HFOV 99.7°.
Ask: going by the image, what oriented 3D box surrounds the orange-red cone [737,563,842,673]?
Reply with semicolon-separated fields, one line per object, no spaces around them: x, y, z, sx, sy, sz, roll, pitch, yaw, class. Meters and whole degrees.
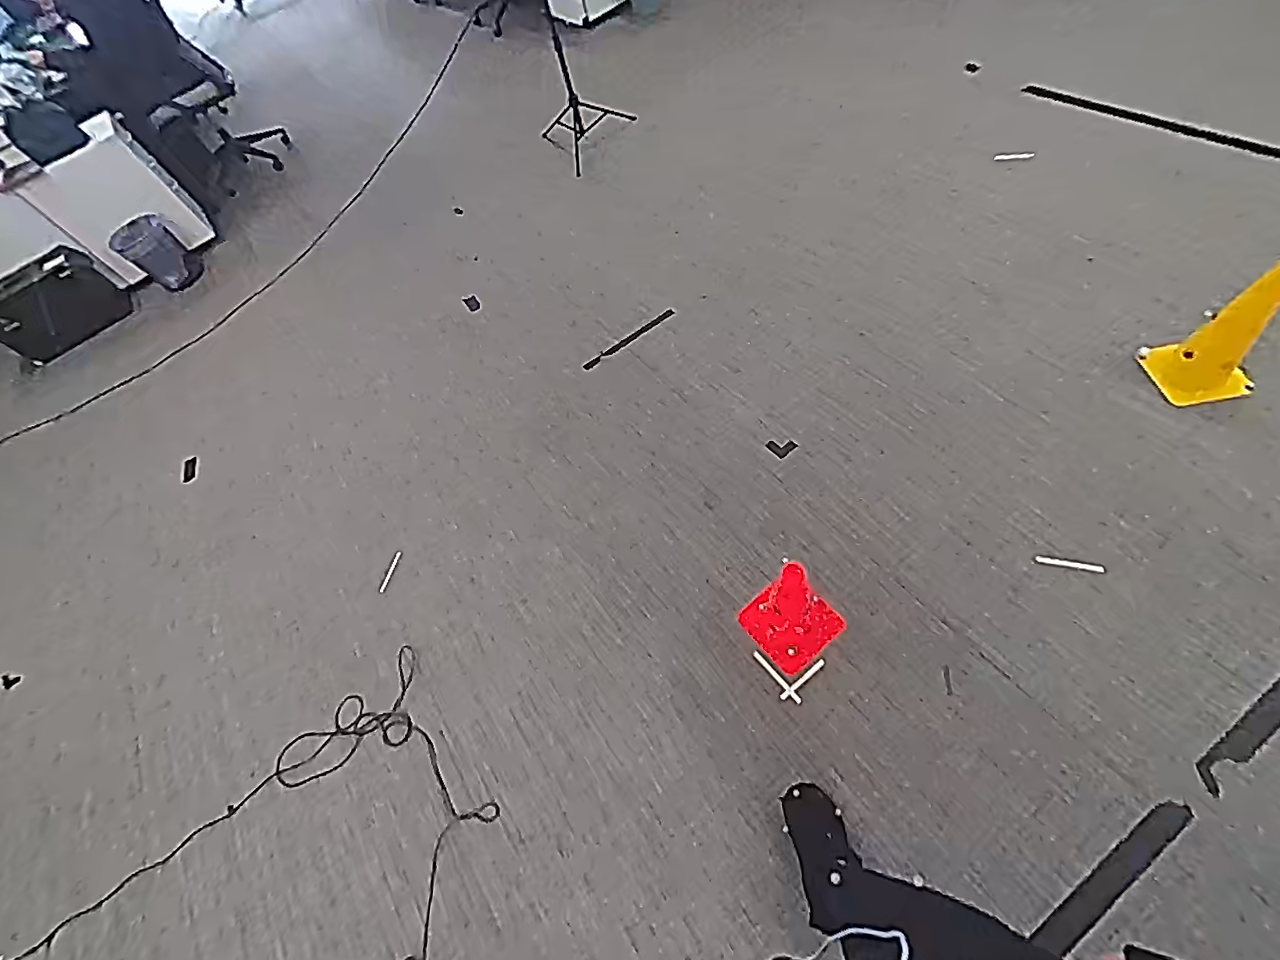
0.340;0.267;1.214;0.199;0.360;0.198;-37;59;-10;orange-red cone
